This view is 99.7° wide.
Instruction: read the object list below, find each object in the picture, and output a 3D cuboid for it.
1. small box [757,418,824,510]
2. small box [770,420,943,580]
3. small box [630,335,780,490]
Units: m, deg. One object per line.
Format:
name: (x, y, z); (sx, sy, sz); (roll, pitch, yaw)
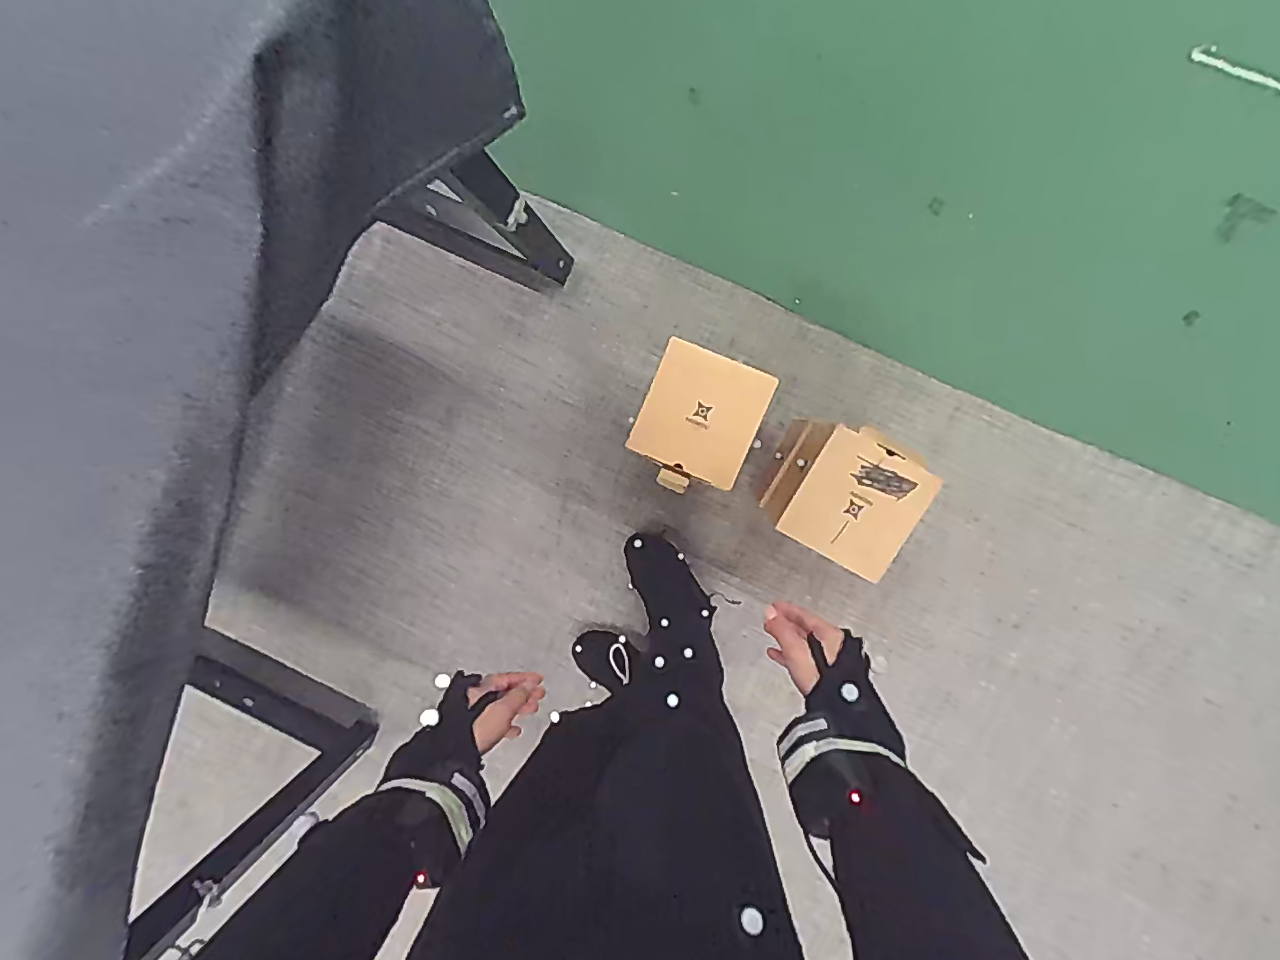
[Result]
small box: (0.328, -0.003, 0.998); (0.168, 0.176, 0.179); (29, 100, 3)
small box: (0.315, 0.020, 0.835); (0.168, 0.176, 0.179); (29, 99, 4)
small box: (0.097, -0.104, 0.845); (0.168, 0.176, 0.179); (23, 98, 3)
